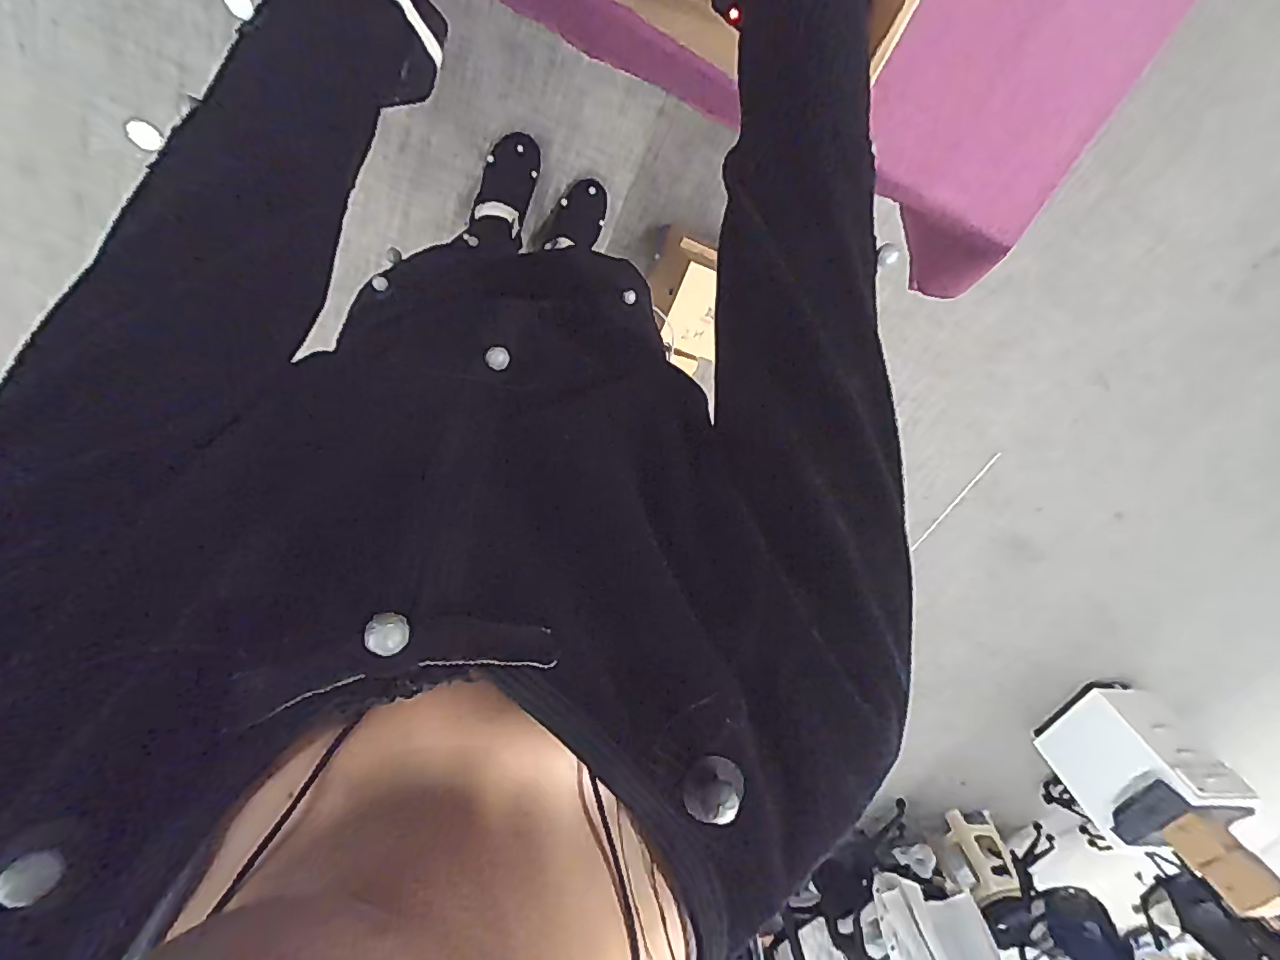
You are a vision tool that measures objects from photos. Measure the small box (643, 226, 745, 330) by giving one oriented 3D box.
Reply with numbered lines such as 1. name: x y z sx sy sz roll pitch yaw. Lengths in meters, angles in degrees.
1. small box: 0.123 -0.493 1.311 0.179 0.176 0.168 16 120 -18
